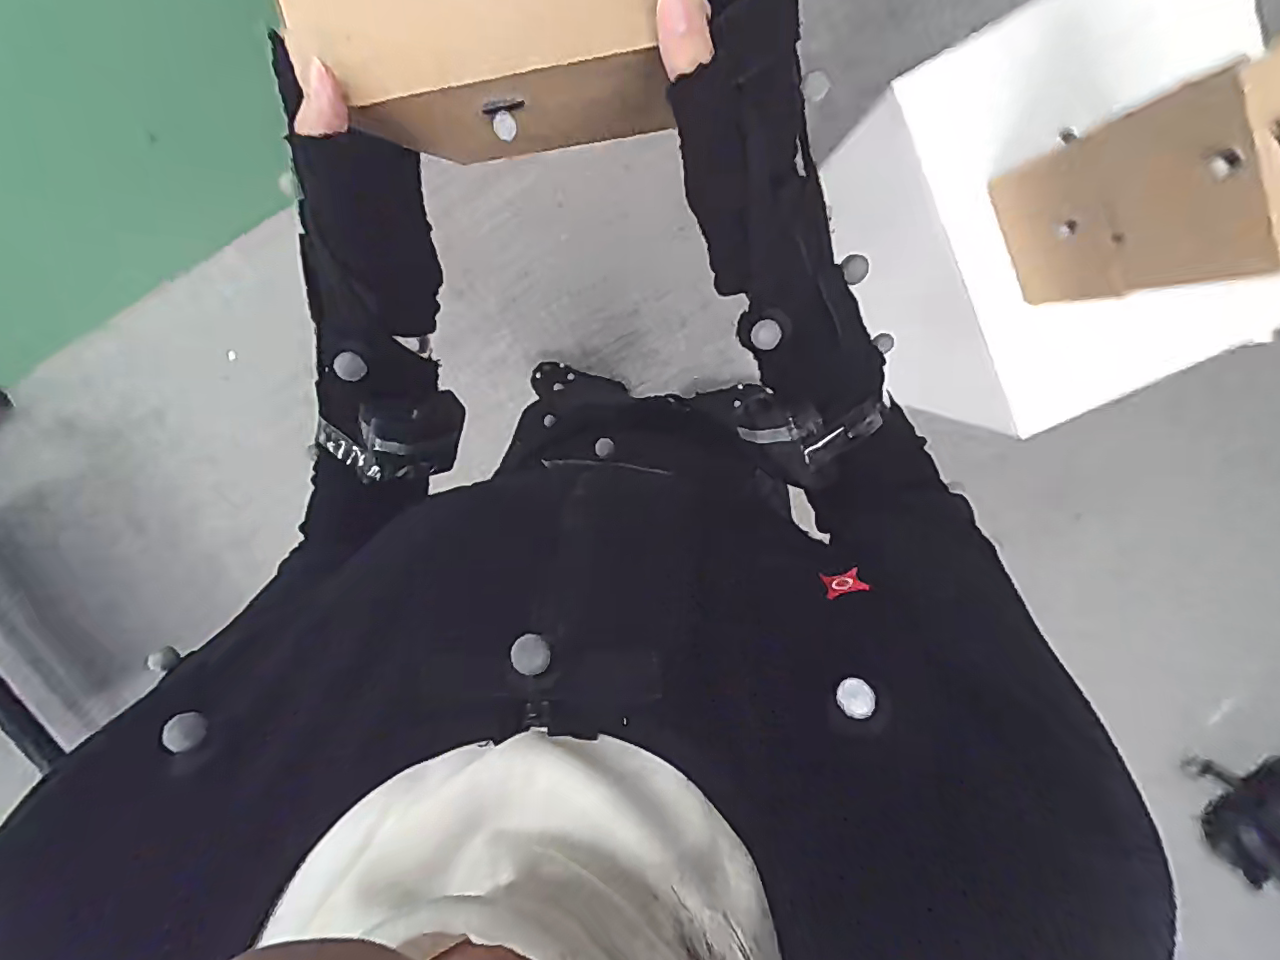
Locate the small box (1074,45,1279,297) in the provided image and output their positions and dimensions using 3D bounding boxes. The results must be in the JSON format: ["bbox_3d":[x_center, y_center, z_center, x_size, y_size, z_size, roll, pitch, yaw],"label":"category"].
[{"bbox_3d":[0.548,-0.280,0.479,0.179,0.176,0.168,-26,102,11],"label":"small box"}]

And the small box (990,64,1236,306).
[{"bbox_3d":[0.555,-0.321,0.635,0.168,0.176,0.179,-25,102,10],"label":"small box"}]
